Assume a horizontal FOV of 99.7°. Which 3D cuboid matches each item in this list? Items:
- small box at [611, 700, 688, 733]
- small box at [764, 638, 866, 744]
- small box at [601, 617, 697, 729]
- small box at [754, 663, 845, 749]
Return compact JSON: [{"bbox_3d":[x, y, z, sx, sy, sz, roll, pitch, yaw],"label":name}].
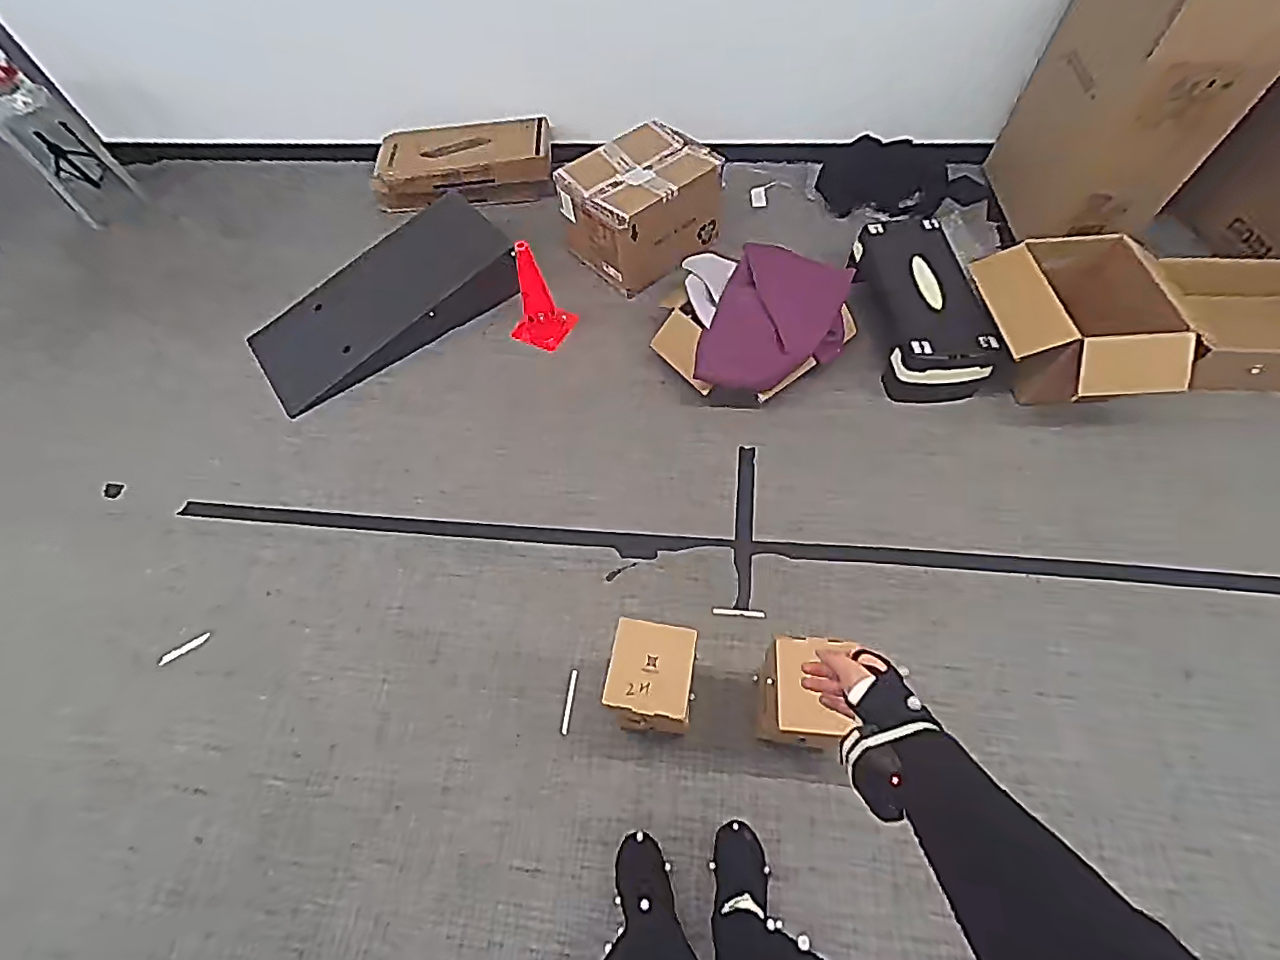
[{"bbox_3d":[0.032,0.497,1.286,0.168,0.176,0.179,3,61,6],"label":"small box"},{"bbox_3d":[0.350,0.437,1.114,0.168,0.176,0.179,2,62,6],"label":"small box"},{"bbox_3d":[0.024,0.412,1.144,0.168,0.176,0.179,8,61,9],"label":"small box"},{"bbox_3d":[0.364,0.519,1.254,0.179,0.176,0.168,7,61,6],"label":"small box"}]
